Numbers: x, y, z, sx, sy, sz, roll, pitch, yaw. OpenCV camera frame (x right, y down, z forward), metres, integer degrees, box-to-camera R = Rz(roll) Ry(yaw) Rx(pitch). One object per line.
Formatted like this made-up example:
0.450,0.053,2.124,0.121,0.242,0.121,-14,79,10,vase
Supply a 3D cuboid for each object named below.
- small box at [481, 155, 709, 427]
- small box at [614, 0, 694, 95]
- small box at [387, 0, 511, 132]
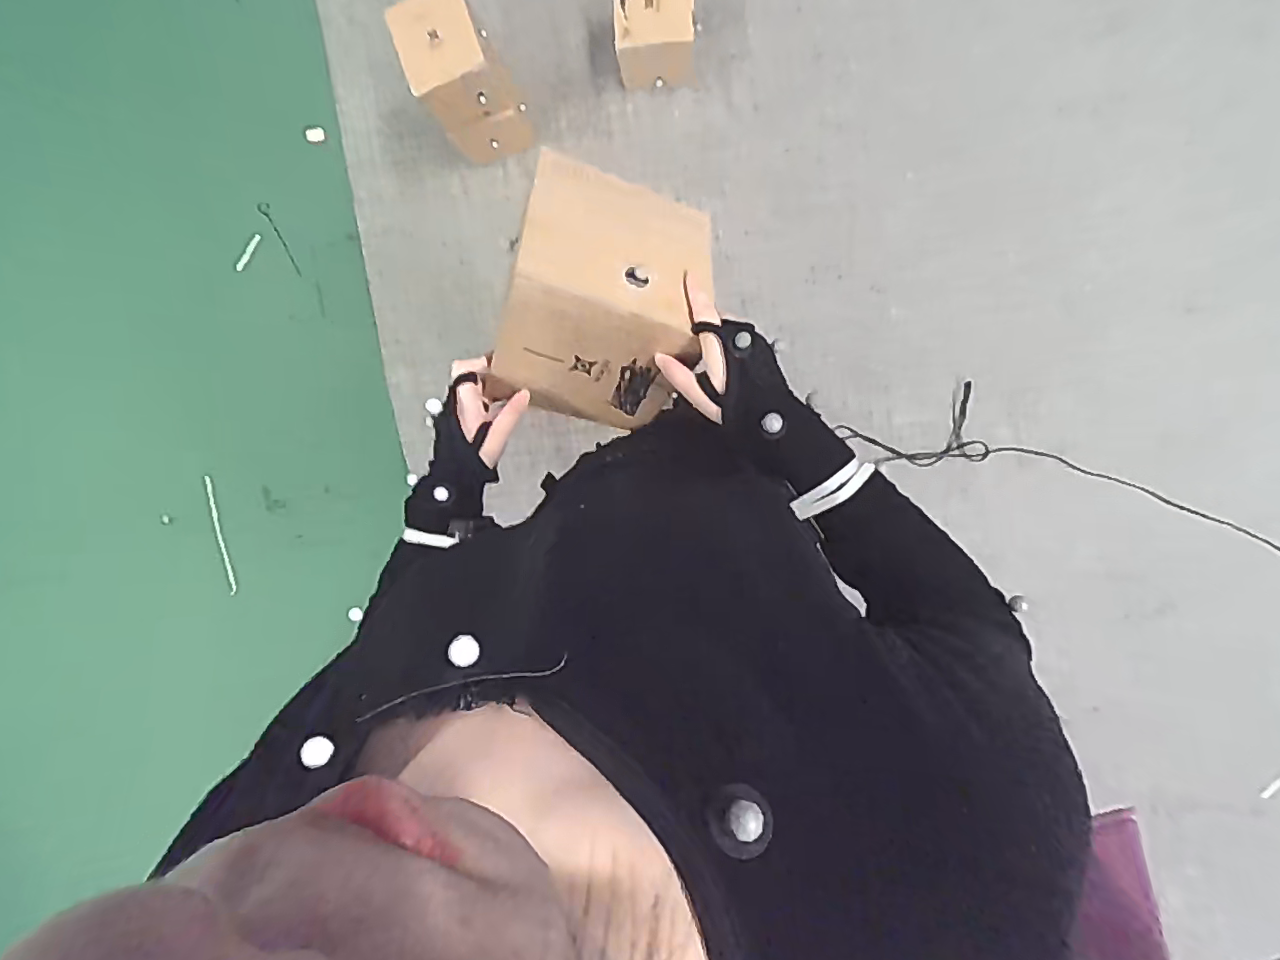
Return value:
-0.046,-0.182,0.544,0.179,0.168,0.176,14,59,-19,small box
0.037,-1.033,1.256,0.179,0.176,0.168,0,97,6,small box
-0.399,-0.888,1.162,0.168,0.176,0.179,-17,95,8,small box
